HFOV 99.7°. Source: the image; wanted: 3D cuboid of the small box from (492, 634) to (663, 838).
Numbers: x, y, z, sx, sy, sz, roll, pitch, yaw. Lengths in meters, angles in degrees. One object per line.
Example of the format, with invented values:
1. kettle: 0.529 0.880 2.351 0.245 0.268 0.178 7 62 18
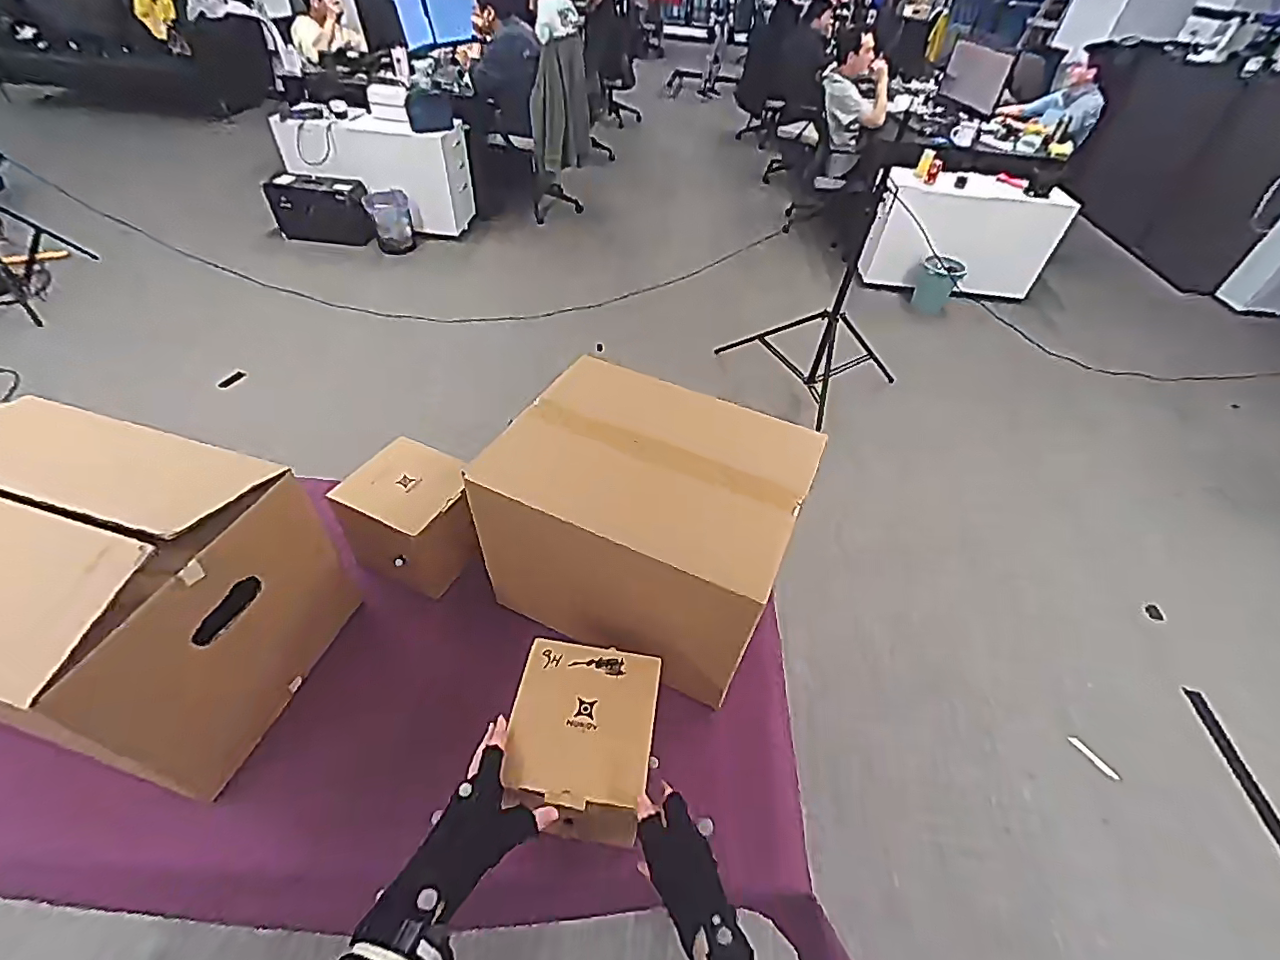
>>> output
1. small box: -0.067 0.322 0.676 0.168 0.176 0.179 8 46 4
